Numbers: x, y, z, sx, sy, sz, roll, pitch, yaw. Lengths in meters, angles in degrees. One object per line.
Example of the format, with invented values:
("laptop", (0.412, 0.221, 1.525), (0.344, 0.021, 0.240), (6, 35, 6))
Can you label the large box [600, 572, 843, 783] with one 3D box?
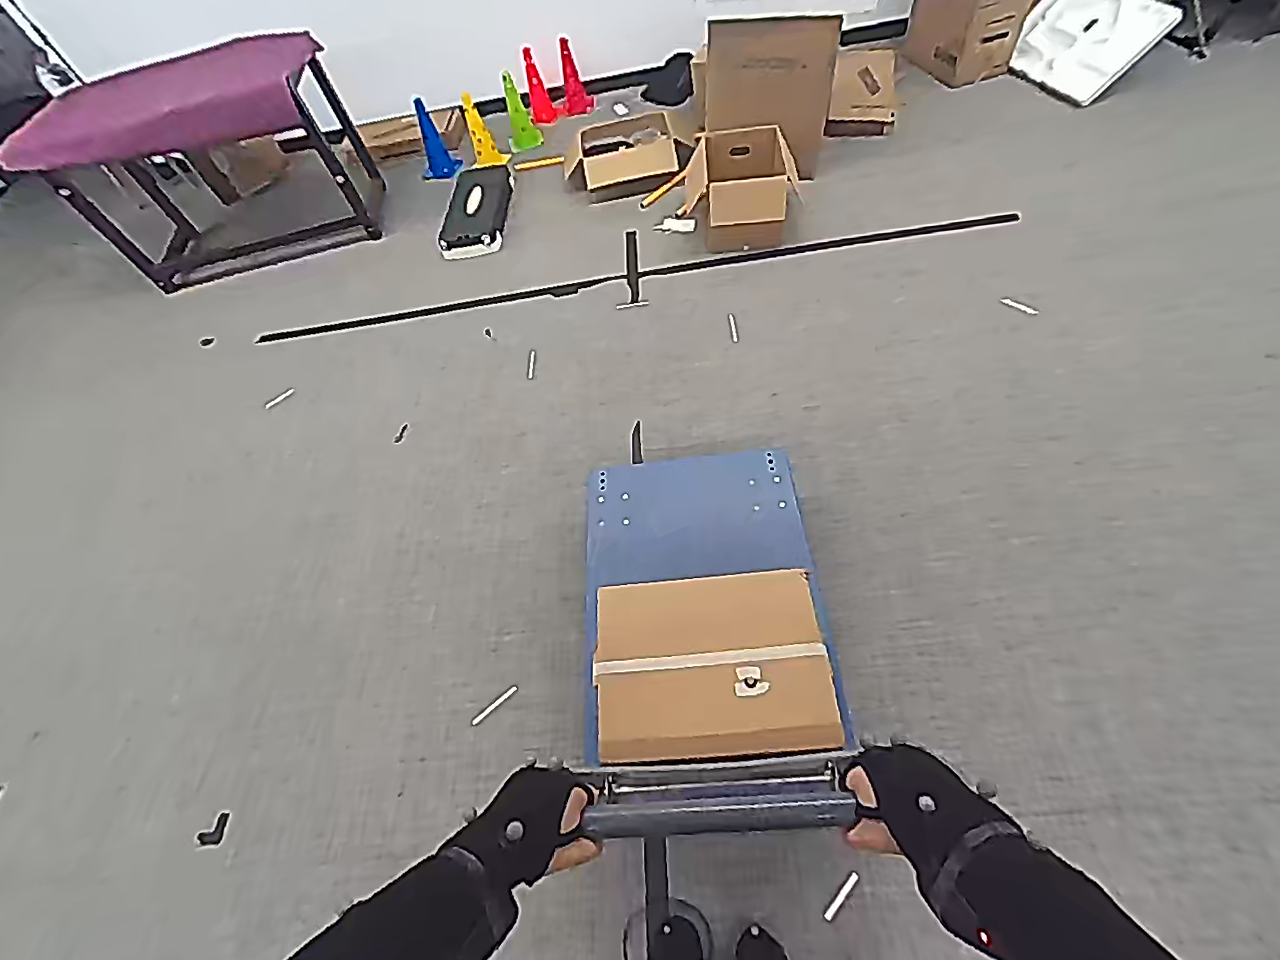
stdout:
("large box", (0.144, 0.411, 1.098), (0.408, 0.320, 0.320), (-7, 57, 4))
